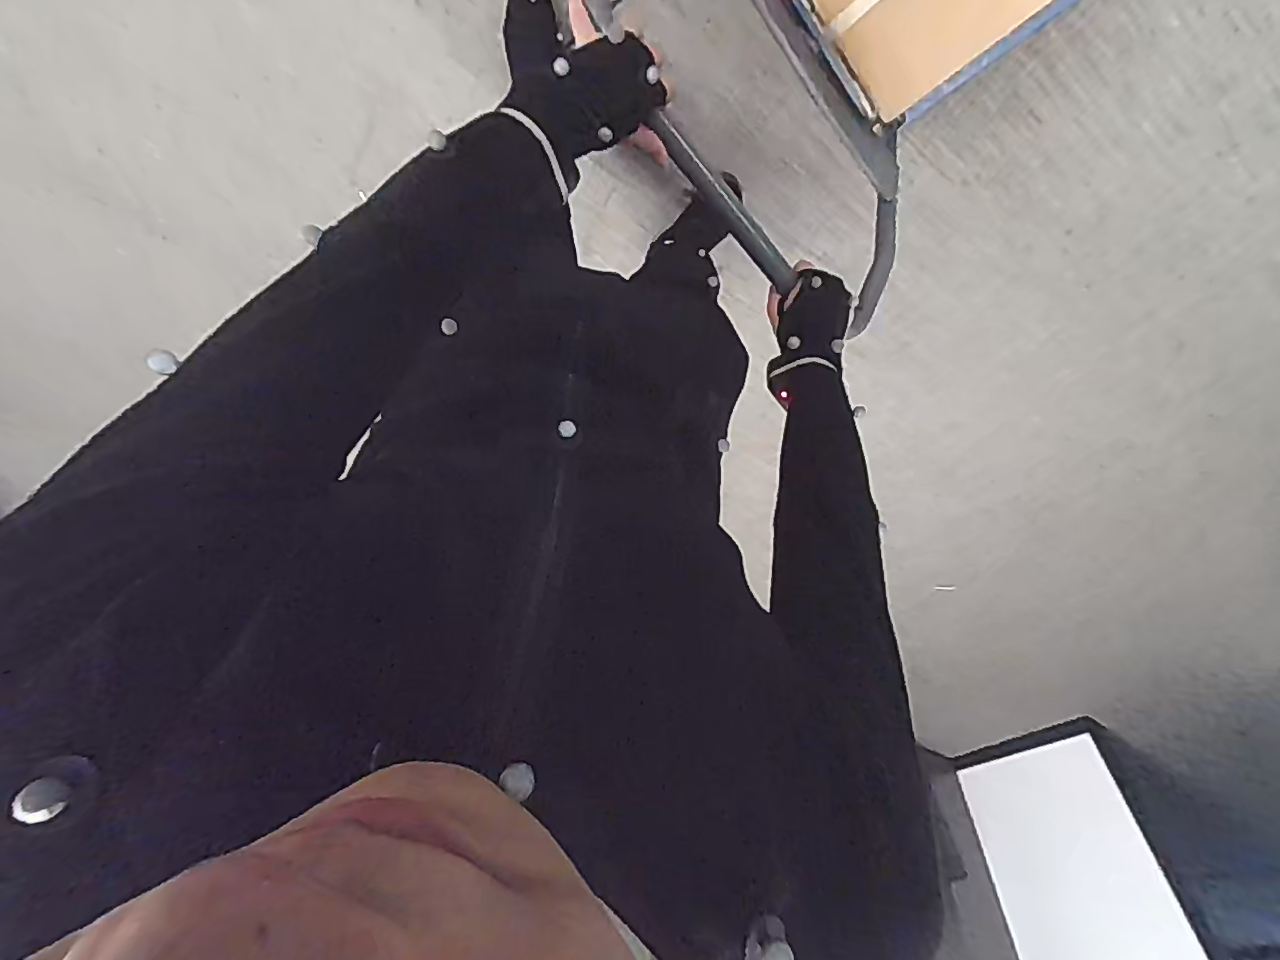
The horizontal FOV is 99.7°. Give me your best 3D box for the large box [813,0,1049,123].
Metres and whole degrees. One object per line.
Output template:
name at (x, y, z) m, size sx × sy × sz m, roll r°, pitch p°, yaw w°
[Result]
large box at (0.435, -0.795, 0.708) m, size 0.320 × 0.320 × 0.408 m, roll 39°, pitch 138°, yaw -27°
